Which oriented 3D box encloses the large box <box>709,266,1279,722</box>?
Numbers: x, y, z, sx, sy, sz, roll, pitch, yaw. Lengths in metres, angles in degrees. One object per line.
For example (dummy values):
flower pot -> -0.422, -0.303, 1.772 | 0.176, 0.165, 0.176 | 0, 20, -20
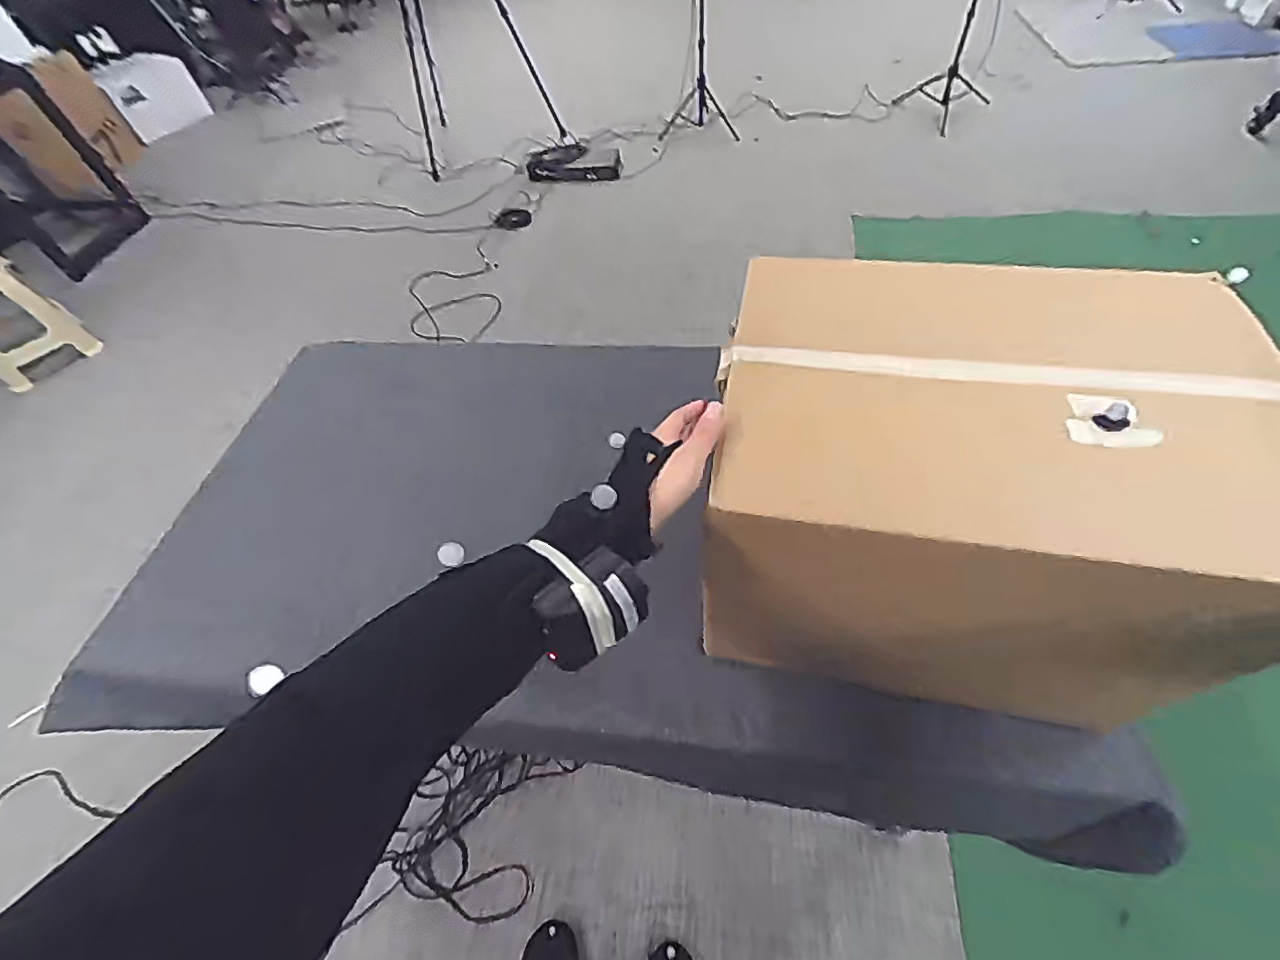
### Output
large box -> 0.289, 0.014, 0.547 | 0.408, 0.320, 0.320 | 8, 55, 11
